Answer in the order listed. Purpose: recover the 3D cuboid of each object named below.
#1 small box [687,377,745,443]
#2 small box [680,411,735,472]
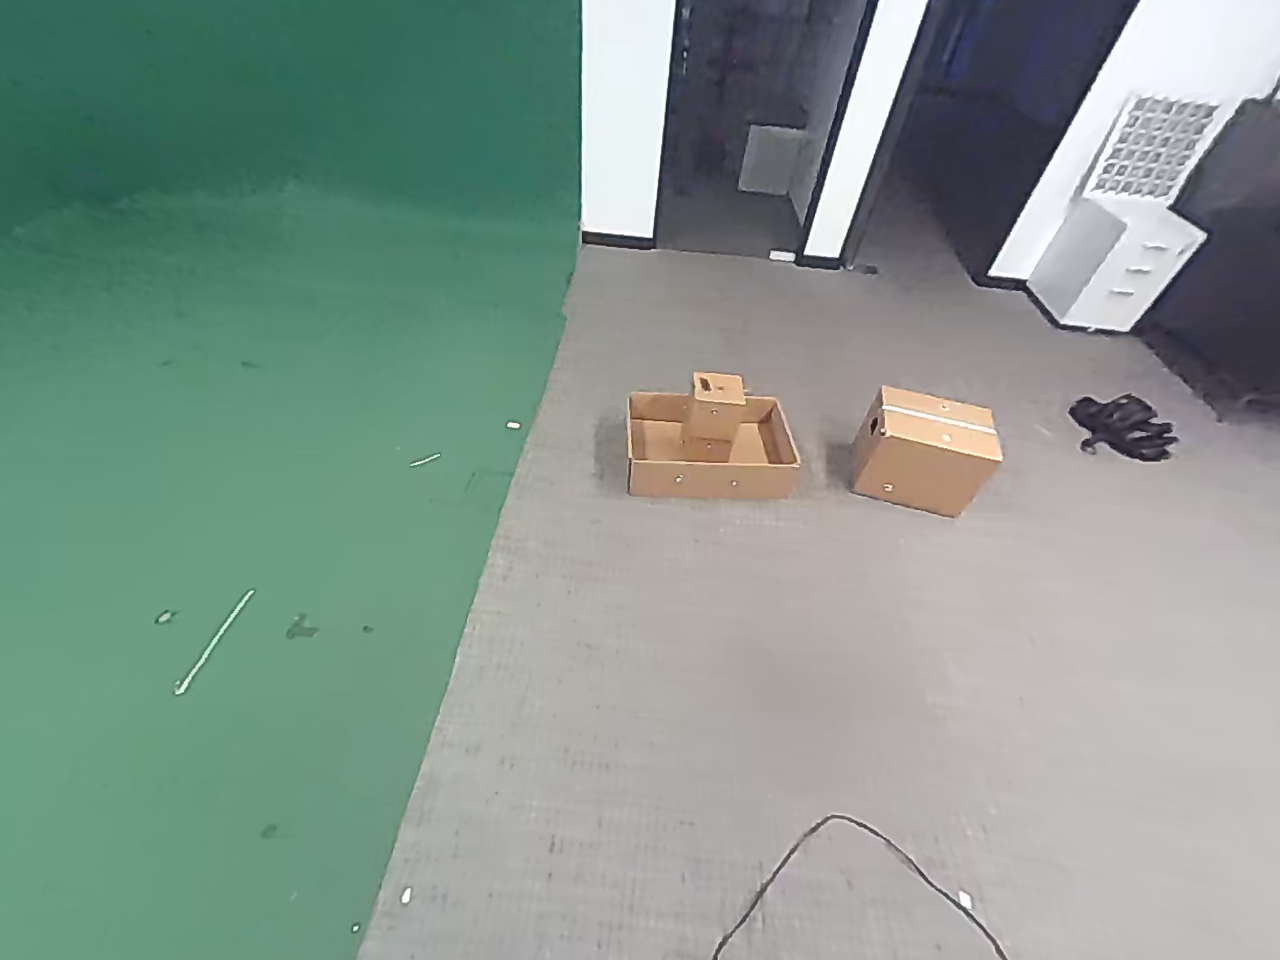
[{"bbox_3d":[0.266,-0.251,1.946,0.179,0.176,0.168,5,46,-3],"label":"small box"},{"bbox_3d":[0.250,-0.145,2.072,0.179,0.176,0.168,3,46,-6],"label":"small box"}]
